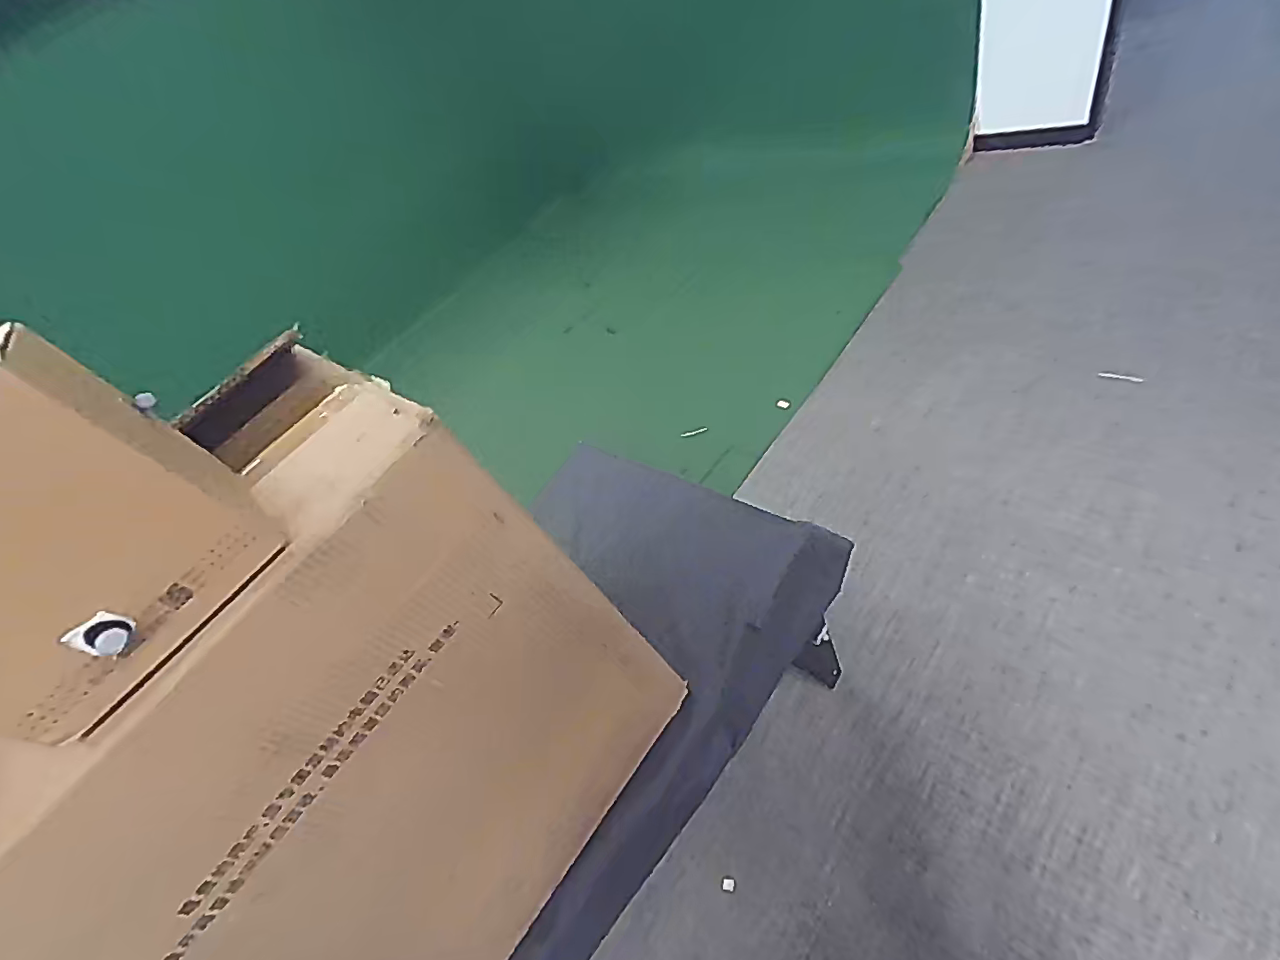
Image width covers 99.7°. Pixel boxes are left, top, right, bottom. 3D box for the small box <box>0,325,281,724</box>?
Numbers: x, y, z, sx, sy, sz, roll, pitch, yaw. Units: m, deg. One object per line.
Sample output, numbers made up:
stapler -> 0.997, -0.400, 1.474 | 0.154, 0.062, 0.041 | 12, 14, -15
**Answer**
small box -> -0.385, 0.027, 0.352 | 0.179, 0.176, 0.168 | 24, 67, 39
